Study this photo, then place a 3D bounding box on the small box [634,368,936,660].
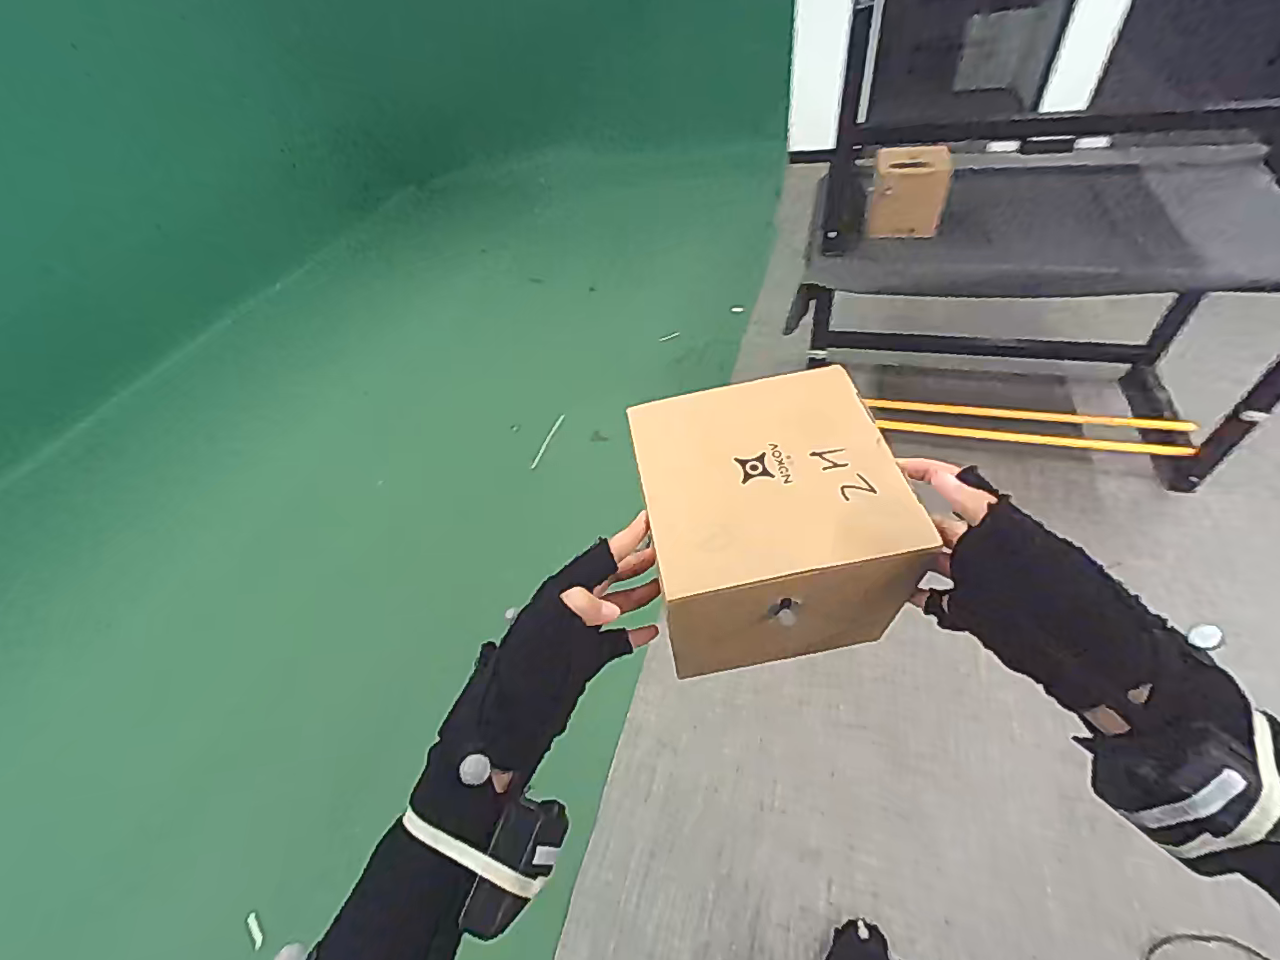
[{"bbox_3d":[0.100,0.036,0.450,0.179,0.176,0.168,-10,55,0],"label":"small box"}]
